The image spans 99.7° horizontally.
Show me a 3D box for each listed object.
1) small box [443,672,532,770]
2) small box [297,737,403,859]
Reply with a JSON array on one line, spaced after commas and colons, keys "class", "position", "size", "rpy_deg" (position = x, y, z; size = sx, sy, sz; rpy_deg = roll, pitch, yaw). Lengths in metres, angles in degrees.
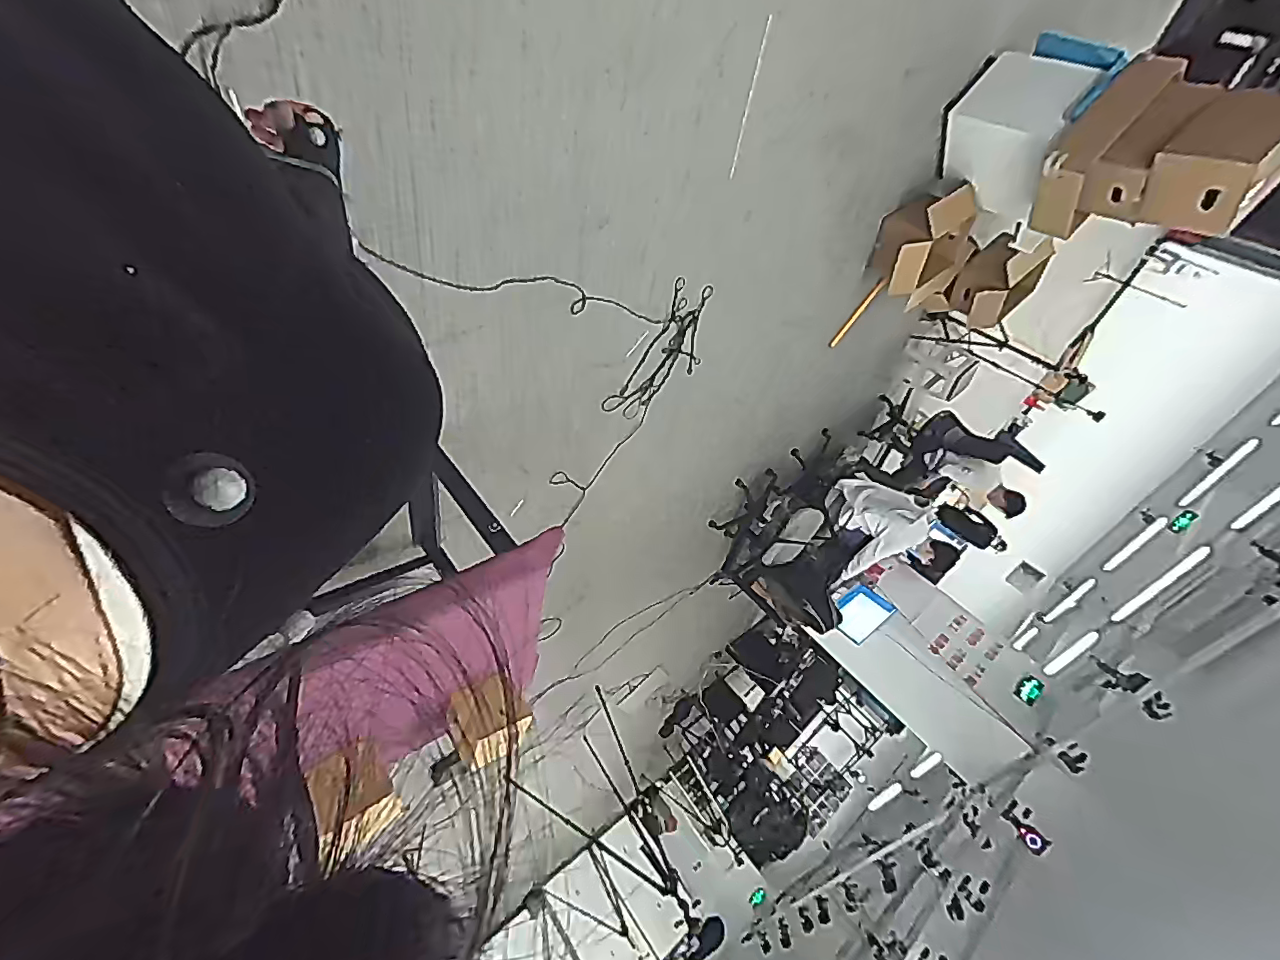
[{"class": "small box", "position": [-0.451, 0.700, 1.591], "size": [0.179, 0.176, 0.168], "rpy_deg": [-10, 133, -44]}, {"class": "small box", "position": [-0.723, 0.788, 1.356], "size": [0.179, 0.176, 0.168], "rpy_deg": [-23, 141, -36]}]
